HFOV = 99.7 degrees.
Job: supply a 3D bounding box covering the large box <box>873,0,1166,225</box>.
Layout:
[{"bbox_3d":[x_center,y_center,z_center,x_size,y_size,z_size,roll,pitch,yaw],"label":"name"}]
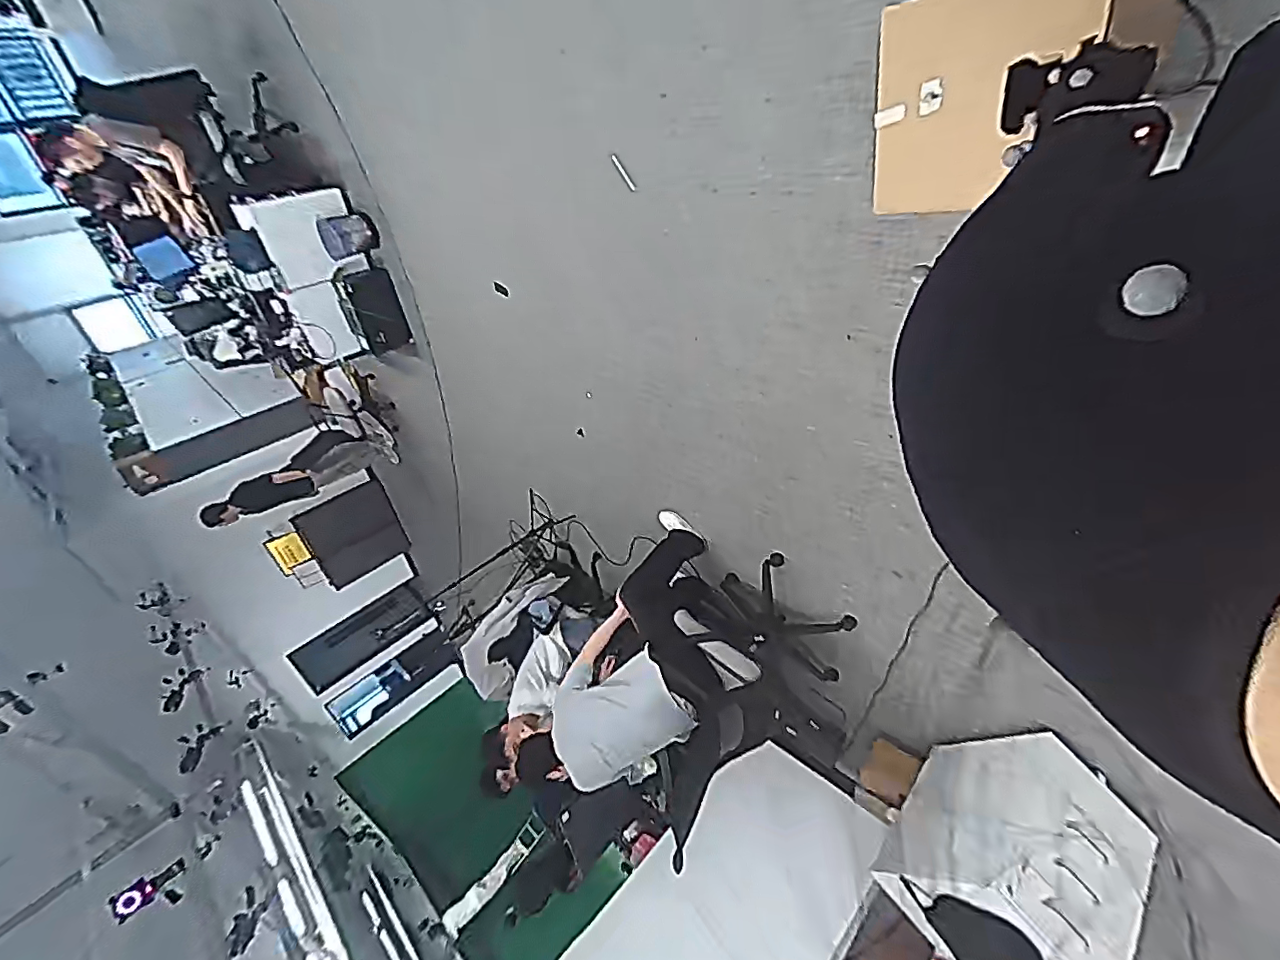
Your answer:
[{"bbox_3d":[0.660,-0.674,0.965,0.320,0.408,0.320,23,136,42],"label":"large box"}]
